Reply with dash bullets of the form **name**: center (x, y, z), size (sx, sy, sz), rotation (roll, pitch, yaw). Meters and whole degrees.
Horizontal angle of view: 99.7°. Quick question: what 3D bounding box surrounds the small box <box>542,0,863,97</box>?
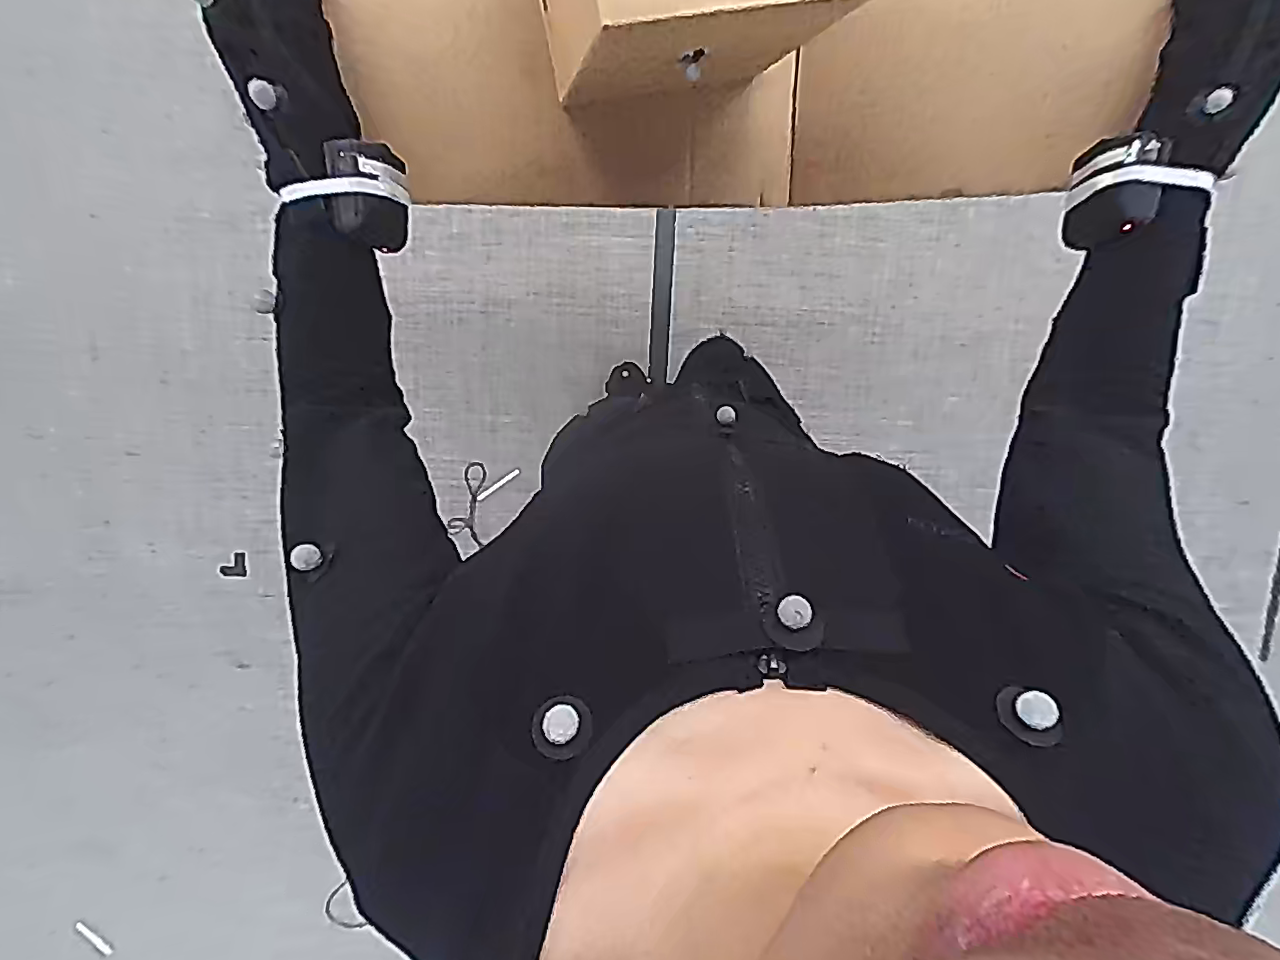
- **small box**: center (0.026, -0.376, 0.352), size (0.179, 0.176, 0.168), rotation (-15, 114, -9)
